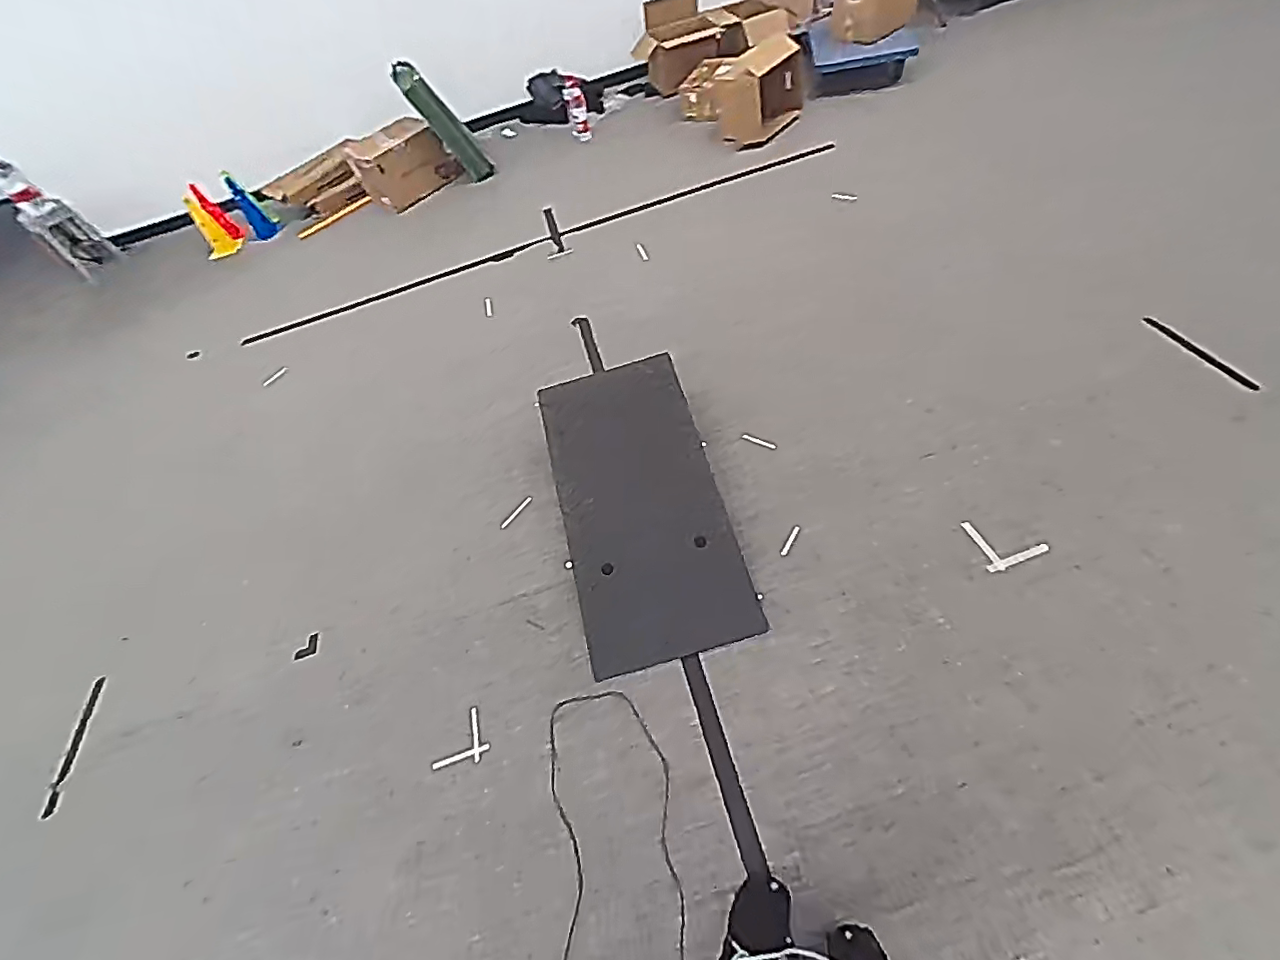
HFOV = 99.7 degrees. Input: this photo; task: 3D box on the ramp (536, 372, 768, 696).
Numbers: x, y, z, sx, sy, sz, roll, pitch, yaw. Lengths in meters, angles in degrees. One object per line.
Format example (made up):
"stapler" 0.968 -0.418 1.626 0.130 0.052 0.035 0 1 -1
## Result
"ramp" -0.008 0.099 1.699 0.509 0.206 0.991 -19 51 -2
